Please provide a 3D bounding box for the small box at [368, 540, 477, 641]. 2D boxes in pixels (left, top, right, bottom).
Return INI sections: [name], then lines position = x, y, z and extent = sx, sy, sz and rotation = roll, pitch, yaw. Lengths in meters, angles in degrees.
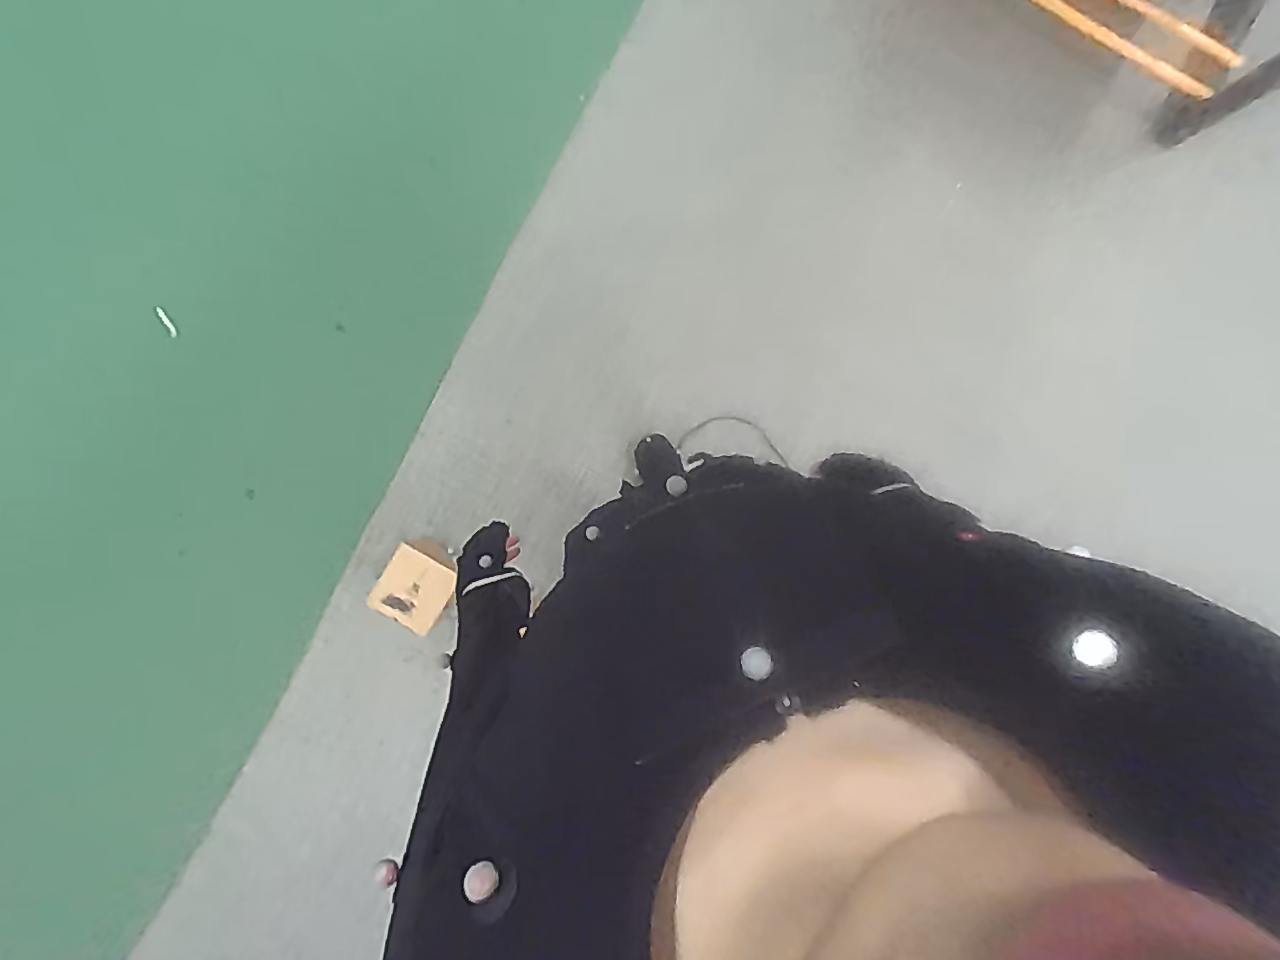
[small box]
position = -0.536, 0.271, 1.364
extent = 0.168, 0.176, 0.179
rotation = 31, 88, -3
